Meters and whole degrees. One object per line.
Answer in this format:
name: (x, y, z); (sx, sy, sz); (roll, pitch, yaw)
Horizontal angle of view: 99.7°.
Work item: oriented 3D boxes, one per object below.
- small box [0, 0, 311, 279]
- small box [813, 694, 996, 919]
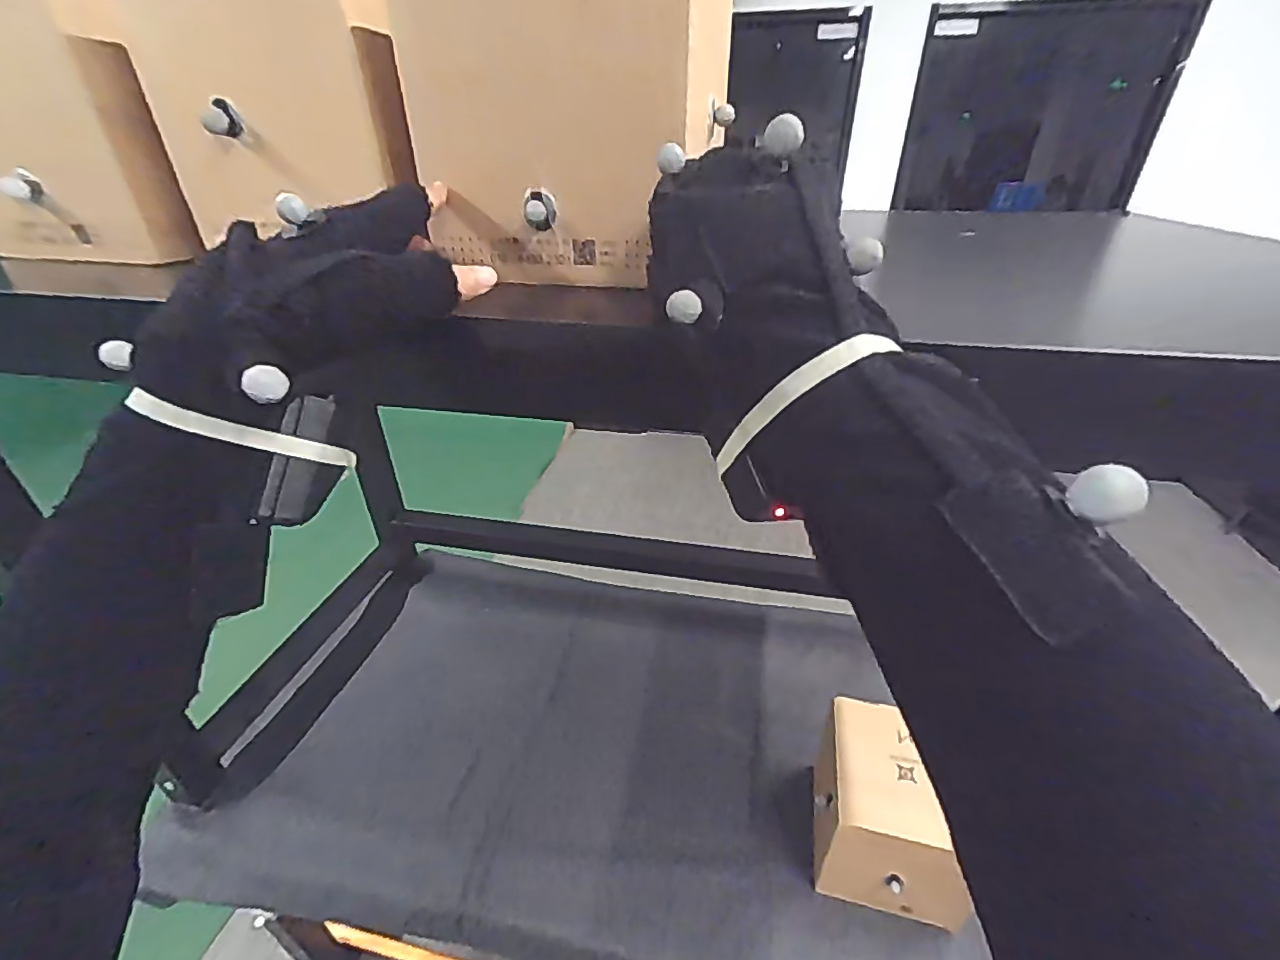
small box: (-0.414, -0.276, 0.451); (0.168, 0.176, 0.179); (7, 33, 11)
small box: (0.324, 0.418, 0.700); (0.168, 0.176, 0.179); (8, 32, 13)
